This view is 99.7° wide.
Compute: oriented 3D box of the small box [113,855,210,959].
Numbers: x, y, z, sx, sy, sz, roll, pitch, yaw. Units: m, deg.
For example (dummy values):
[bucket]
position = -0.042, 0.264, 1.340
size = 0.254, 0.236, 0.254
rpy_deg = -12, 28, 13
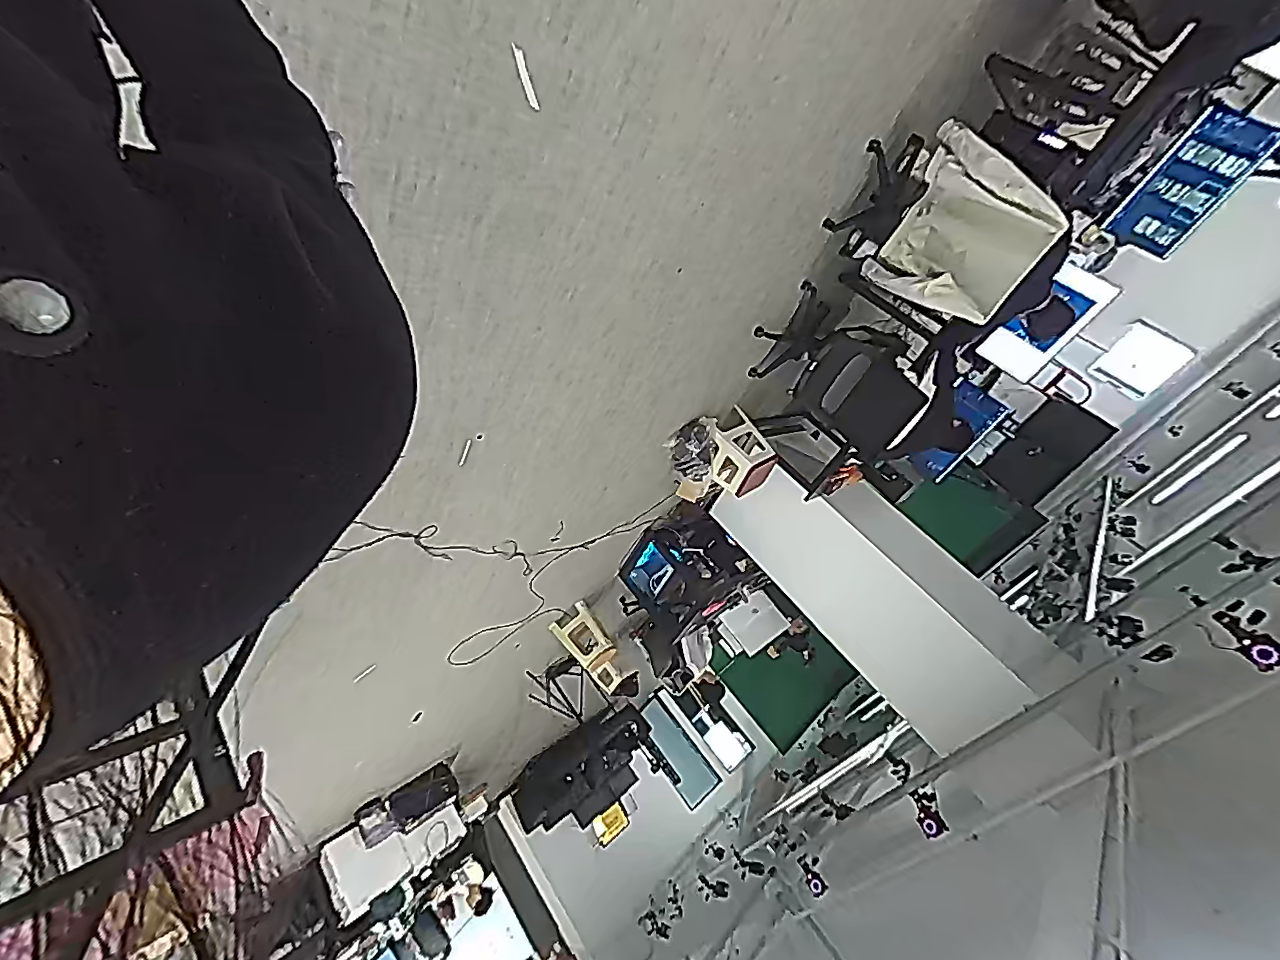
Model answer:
[small box]
position = -1.327, 1.196, 1.501
size = 0.179, 0.176, 0.168
rpy_deg = -16, 146, -45
